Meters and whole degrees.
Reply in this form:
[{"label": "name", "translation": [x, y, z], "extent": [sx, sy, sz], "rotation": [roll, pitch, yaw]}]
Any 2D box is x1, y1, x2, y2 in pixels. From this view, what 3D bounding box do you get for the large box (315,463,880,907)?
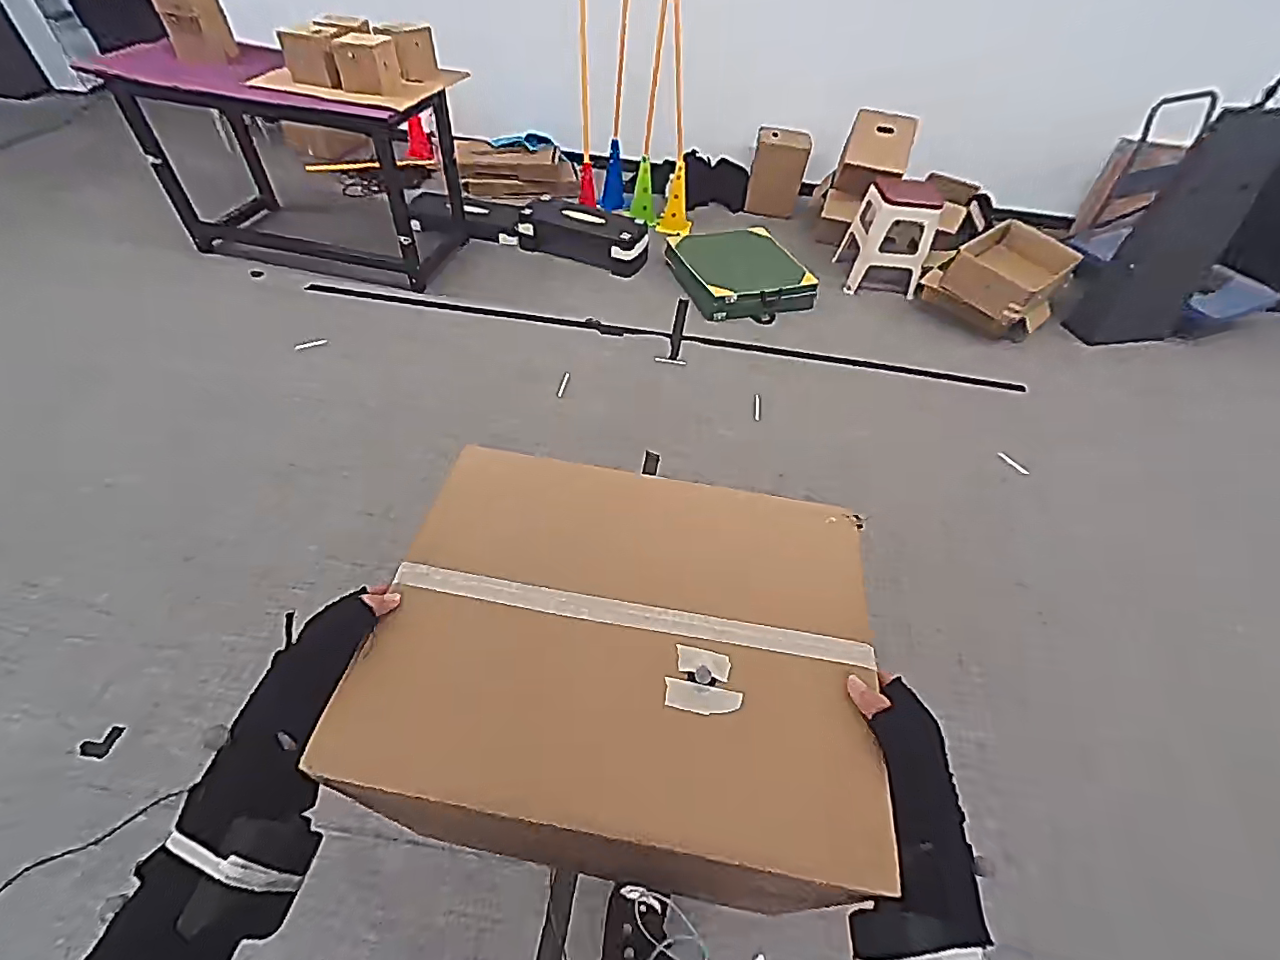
[{"label": "large box", "translation": [-0.023, 0.220, 0.576], "extent": [0.408, 0.320, 0.320], "rotation": [10, 51, 3]}]
